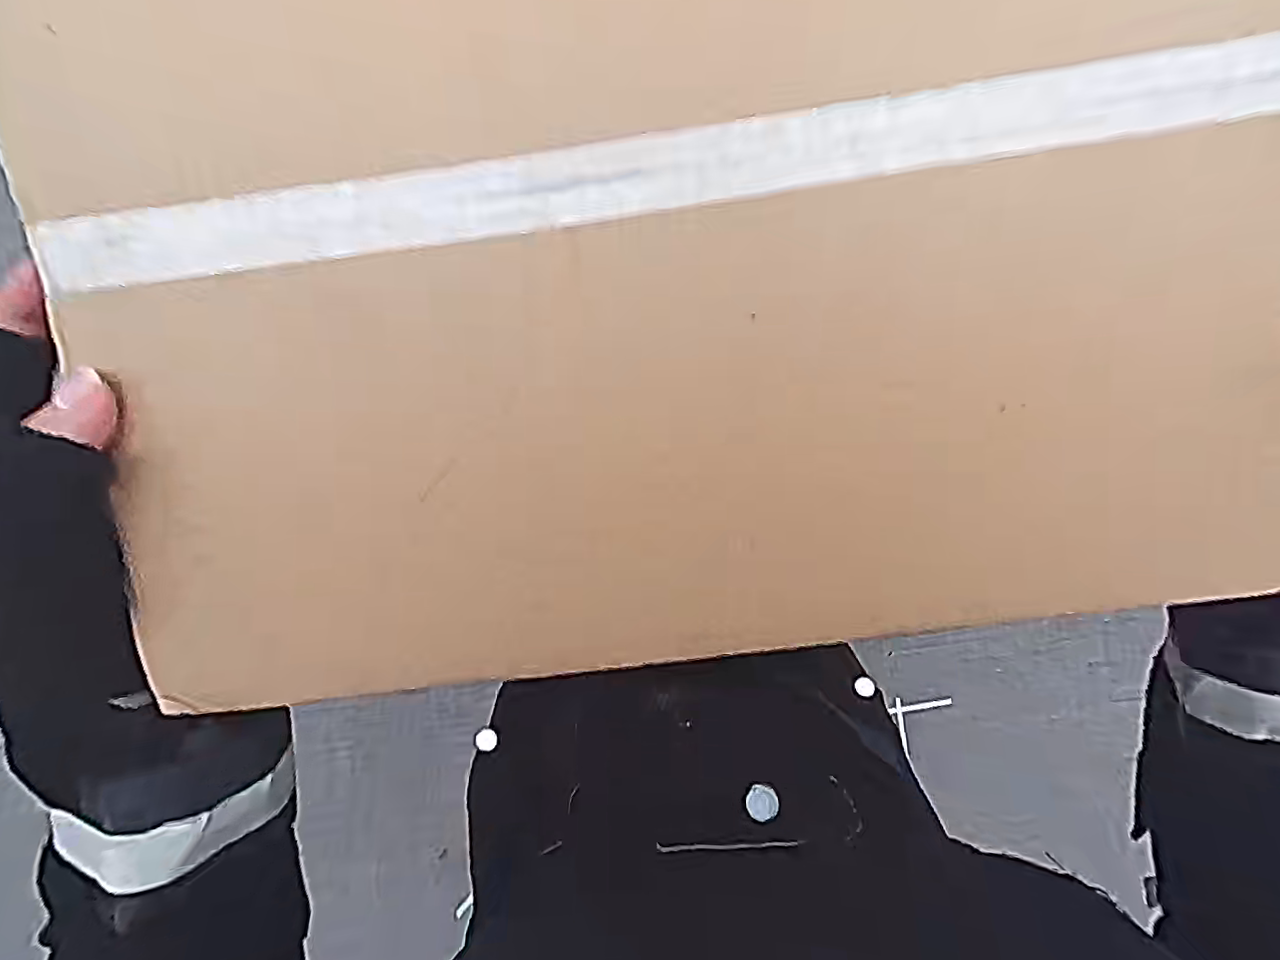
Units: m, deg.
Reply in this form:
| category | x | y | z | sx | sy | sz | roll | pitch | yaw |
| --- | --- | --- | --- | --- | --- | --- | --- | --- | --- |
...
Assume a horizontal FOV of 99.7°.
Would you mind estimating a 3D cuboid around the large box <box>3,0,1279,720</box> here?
| category | x | y | z | sx | sy | sz | roll | pitch | yaw |
| --- | --- | --- | --- | --- | --- | --- | --- | --- | --- |
| large box | 0.016 | -0.108 | 0.322 | 0.408 | 0.320 | 0.320 | -7 | 97 | 2 |
